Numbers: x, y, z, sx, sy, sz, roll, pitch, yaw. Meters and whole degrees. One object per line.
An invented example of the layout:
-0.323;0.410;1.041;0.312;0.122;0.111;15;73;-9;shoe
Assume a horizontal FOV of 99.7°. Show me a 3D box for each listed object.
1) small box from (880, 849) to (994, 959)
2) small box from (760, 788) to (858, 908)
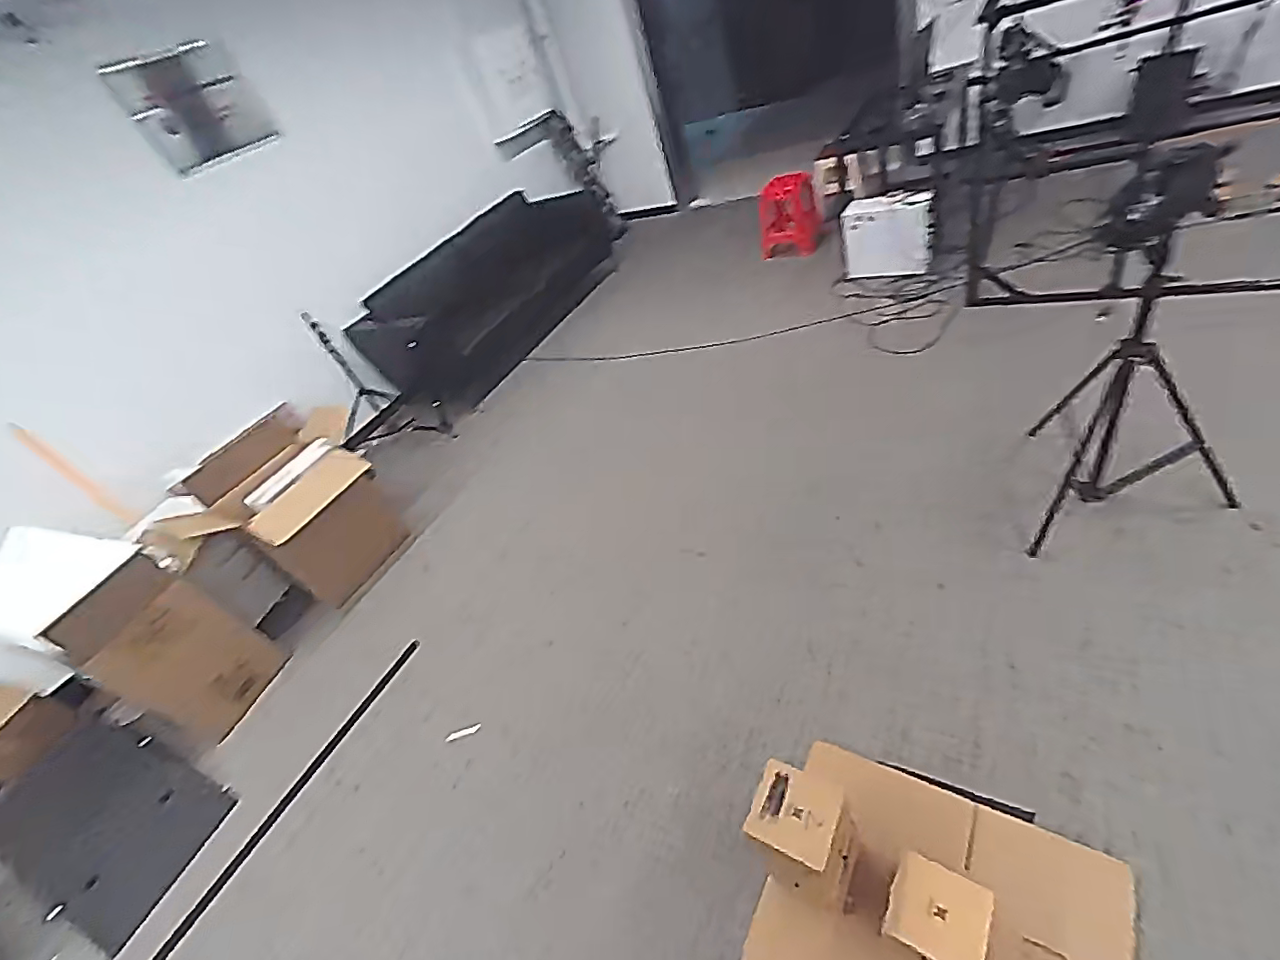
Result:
0.624;0.929;1.141;0.179;0.176;0.168;11;50;35;small box
0.412;0.885;1.295;0.179;0.176;0.168;8;48;35;small box
